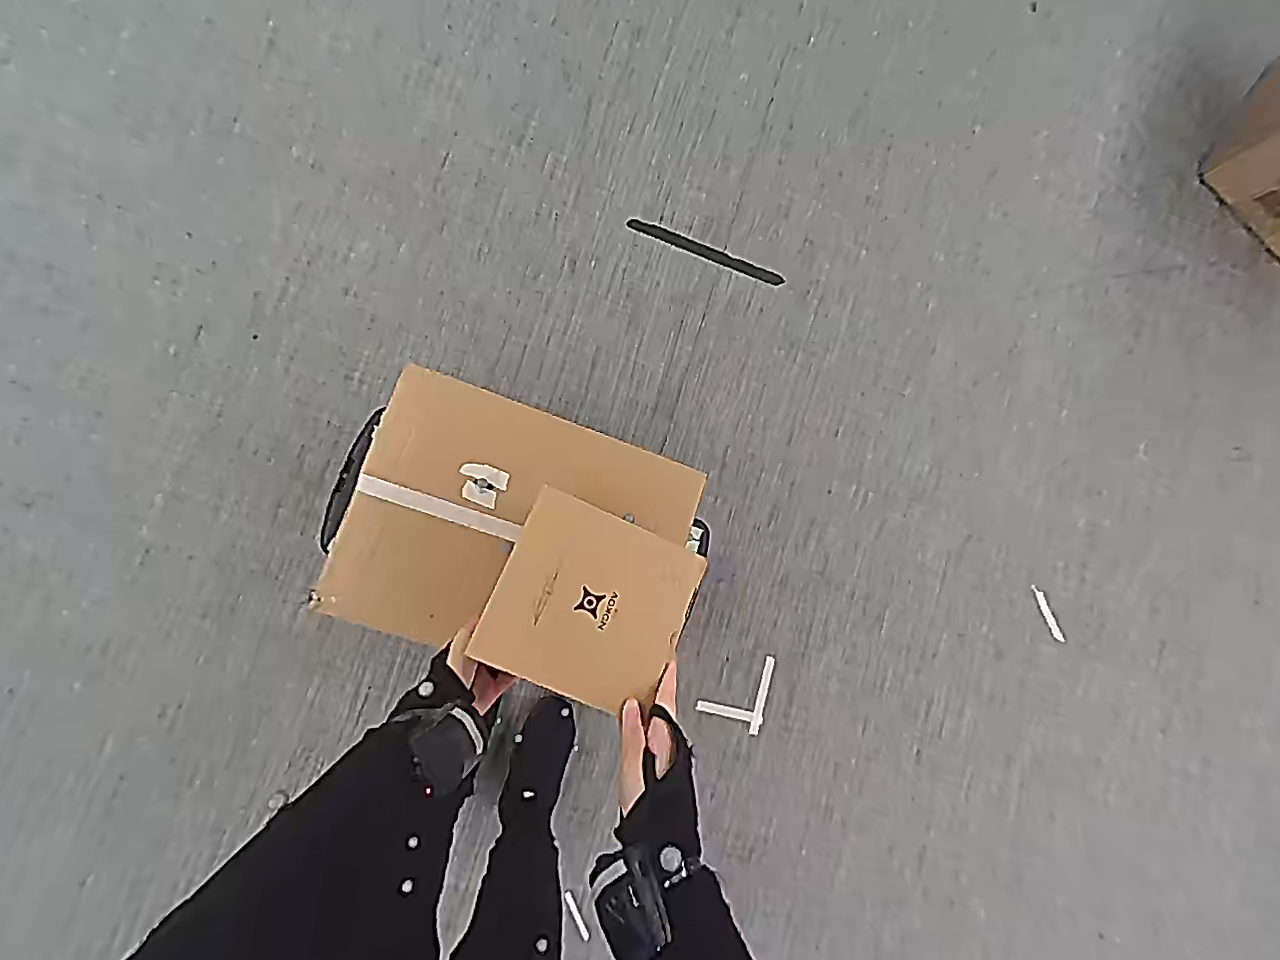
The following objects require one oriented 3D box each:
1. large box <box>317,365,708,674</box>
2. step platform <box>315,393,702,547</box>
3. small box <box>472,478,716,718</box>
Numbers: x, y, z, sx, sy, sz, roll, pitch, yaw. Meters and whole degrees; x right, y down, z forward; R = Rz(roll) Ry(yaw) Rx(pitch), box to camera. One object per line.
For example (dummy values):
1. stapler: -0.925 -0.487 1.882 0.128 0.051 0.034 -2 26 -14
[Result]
1. large box: -0.163 0.075 0.809 0.408 0.320 0.320 20 82 -7
2. step platform: -0.227 0.102 1.039 0.684 0.204 0.286 25 82 -7
3. small box: -0.052 0.117 0.564 0.179 0.176 0.168 26 76 -7
